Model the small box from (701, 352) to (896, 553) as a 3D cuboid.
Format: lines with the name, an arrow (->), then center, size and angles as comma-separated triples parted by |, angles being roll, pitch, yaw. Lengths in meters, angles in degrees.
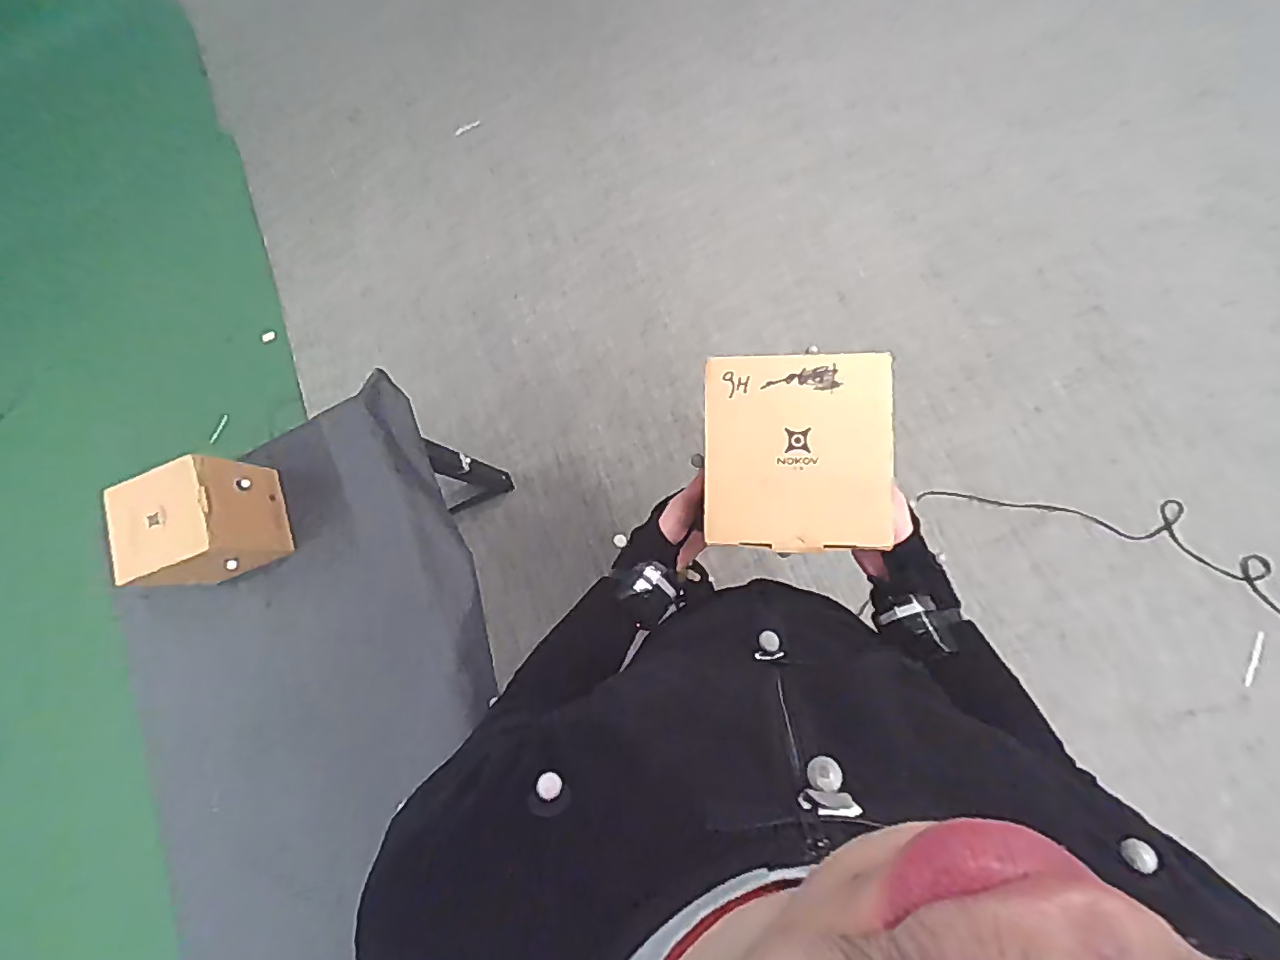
small box -> 0.150, -0.023, 0.555 | 0.168, 0.176, 0.179 | 1, 87, 7

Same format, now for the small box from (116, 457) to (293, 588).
small box -> -0.736, 0.079, 0.932 | 0.179, 0.176, 0.168 | -22, 75, 7
